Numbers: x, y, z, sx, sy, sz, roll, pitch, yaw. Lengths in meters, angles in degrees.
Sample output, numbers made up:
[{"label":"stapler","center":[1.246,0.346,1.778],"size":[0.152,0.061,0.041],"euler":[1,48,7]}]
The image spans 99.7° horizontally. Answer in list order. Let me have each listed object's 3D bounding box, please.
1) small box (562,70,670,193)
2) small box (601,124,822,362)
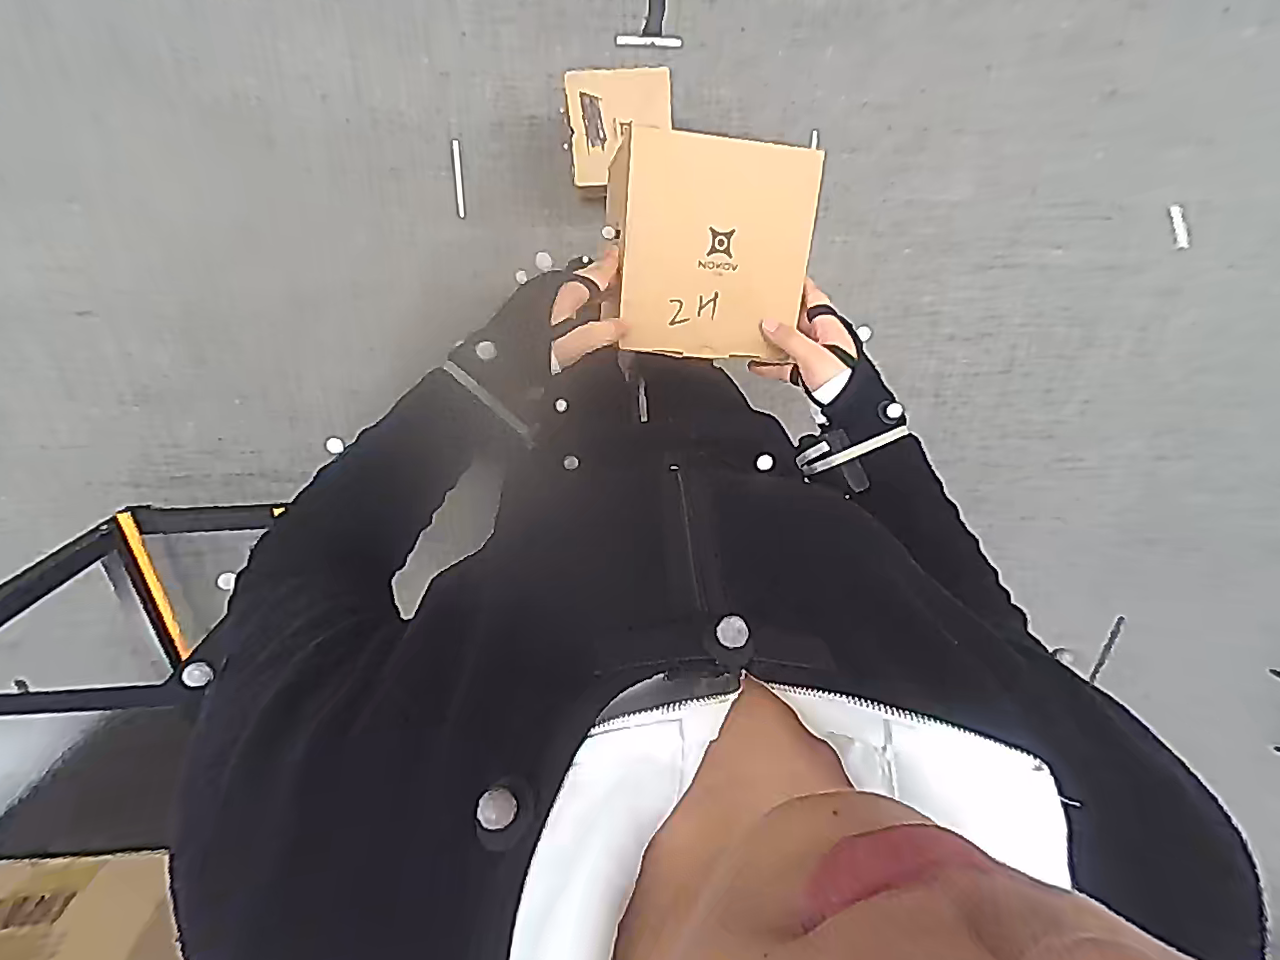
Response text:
[{"label":"small box","center":[-0.042,-0.619,0.977],"size":[0.179,0.176,0.168],"euler":[-6,116,-4]},{"label":"small box","center":[0.053,-0.221,0.536],"size":[0.168,0.176,0.179],"euler":[1,110,-10]}]
